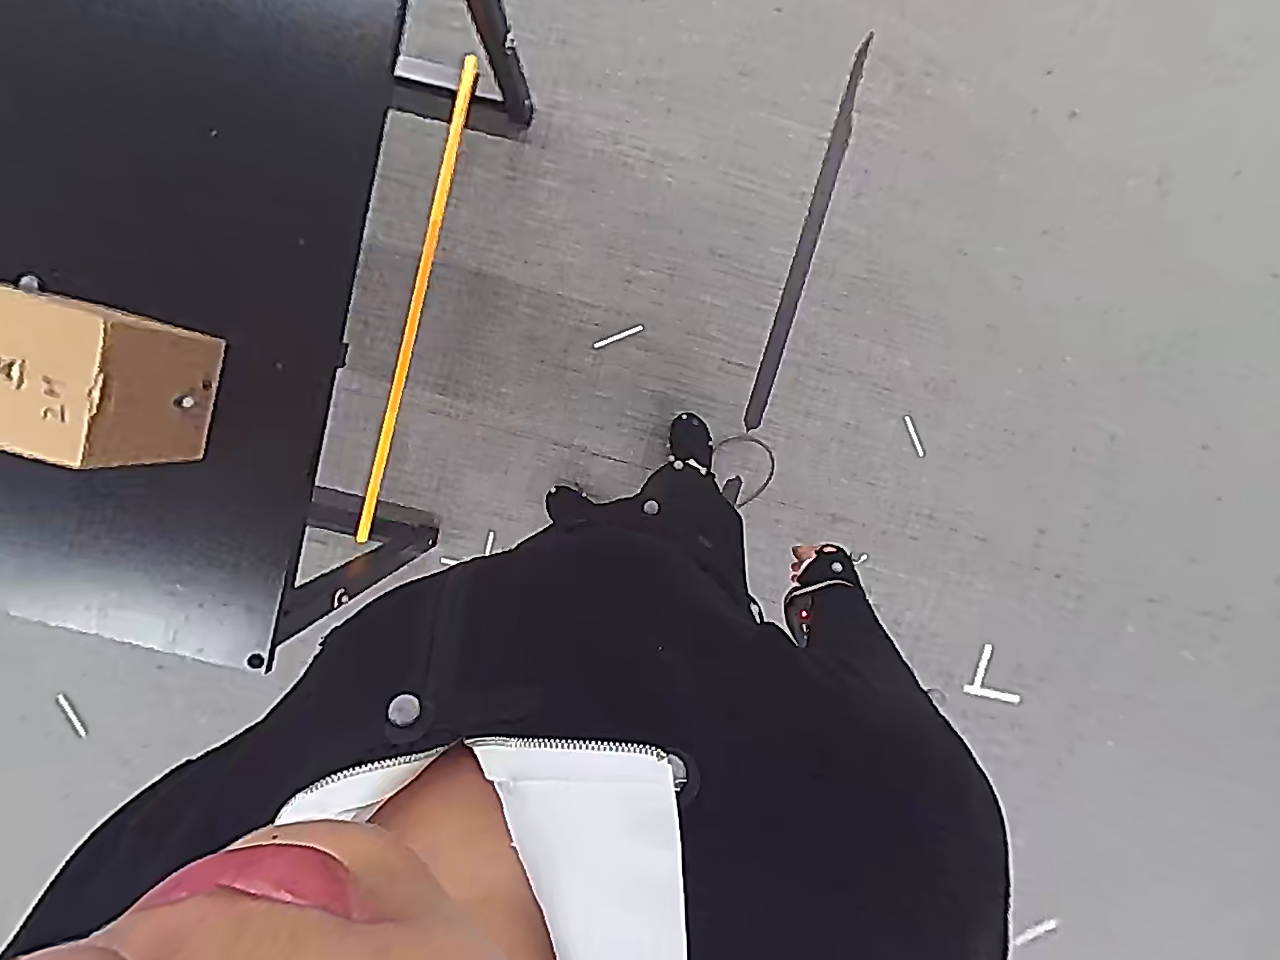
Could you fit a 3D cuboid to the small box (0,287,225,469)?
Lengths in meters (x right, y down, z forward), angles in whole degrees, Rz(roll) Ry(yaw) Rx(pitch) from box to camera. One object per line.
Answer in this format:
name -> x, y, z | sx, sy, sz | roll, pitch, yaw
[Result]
small box -> -0.658, -0.118, 0.649 | 0.179, 0.176, 0.168 | 16, 96, -3
